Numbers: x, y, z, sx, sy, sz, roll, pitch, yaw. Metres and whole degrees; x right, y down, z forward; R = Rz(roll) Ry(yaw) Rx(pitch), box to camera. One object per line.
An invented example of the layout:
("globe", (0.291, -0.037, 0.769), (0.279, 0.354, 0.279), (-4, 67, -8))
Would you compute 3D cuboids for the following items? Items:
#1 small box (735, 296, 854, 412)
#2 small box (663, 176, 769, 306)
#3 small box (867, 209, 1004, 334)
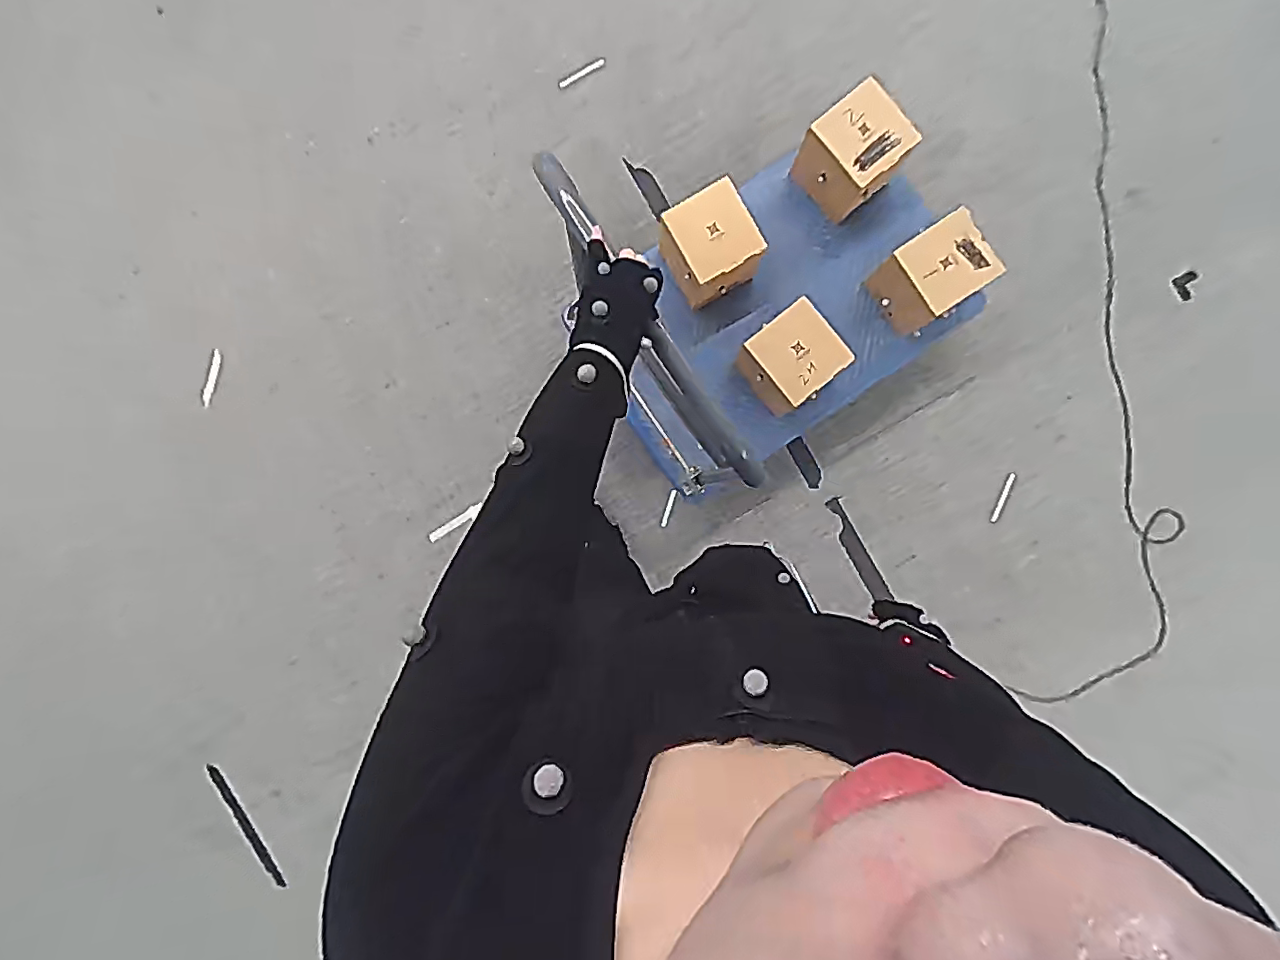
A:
("small box", (0.333, -0.271, 1.210), (0.168, 0.176, 0.179), (-38, 89, 1))
("small box", (0.159, -0.524, 1.212), (0.168, 0.176, 0.179), (-31, 90, 1))
("small box", (0.645, -0.454, 1.203), (0.179, 0.176, 0.168), (-33, 89, 2))
